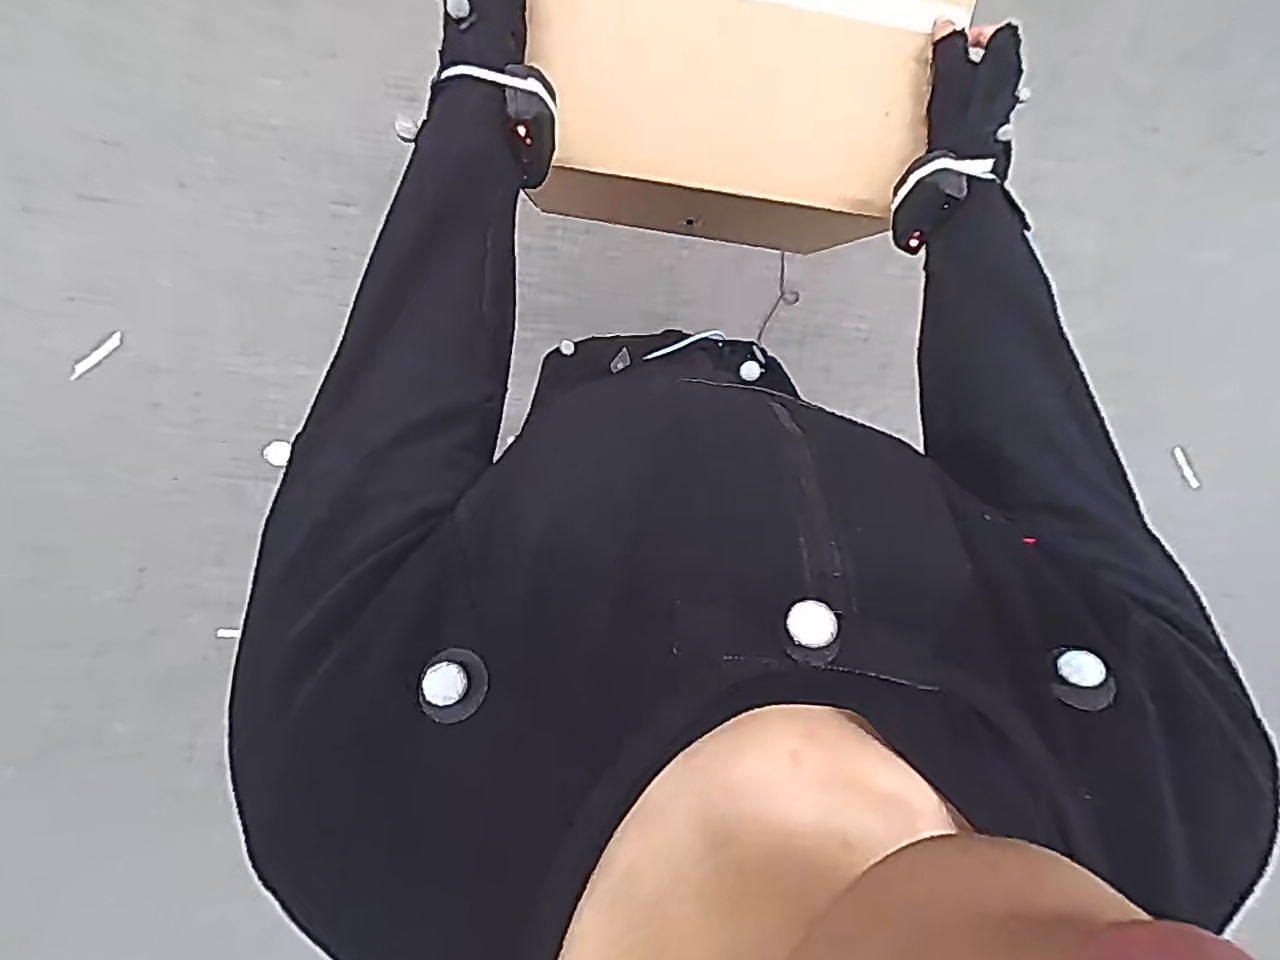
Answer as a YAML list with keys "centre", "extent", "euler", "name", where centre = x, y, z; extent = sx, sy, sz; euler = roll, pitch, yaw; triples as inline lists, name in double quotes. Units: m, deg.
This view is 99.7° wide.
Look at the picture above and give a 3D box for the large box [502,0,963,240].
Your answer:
- centre: [0.082, -0.473, 0.611]
  extent: [0.408, 0.320, 0.320]
  euler: [6, 106, -4]
  name: "large box"
